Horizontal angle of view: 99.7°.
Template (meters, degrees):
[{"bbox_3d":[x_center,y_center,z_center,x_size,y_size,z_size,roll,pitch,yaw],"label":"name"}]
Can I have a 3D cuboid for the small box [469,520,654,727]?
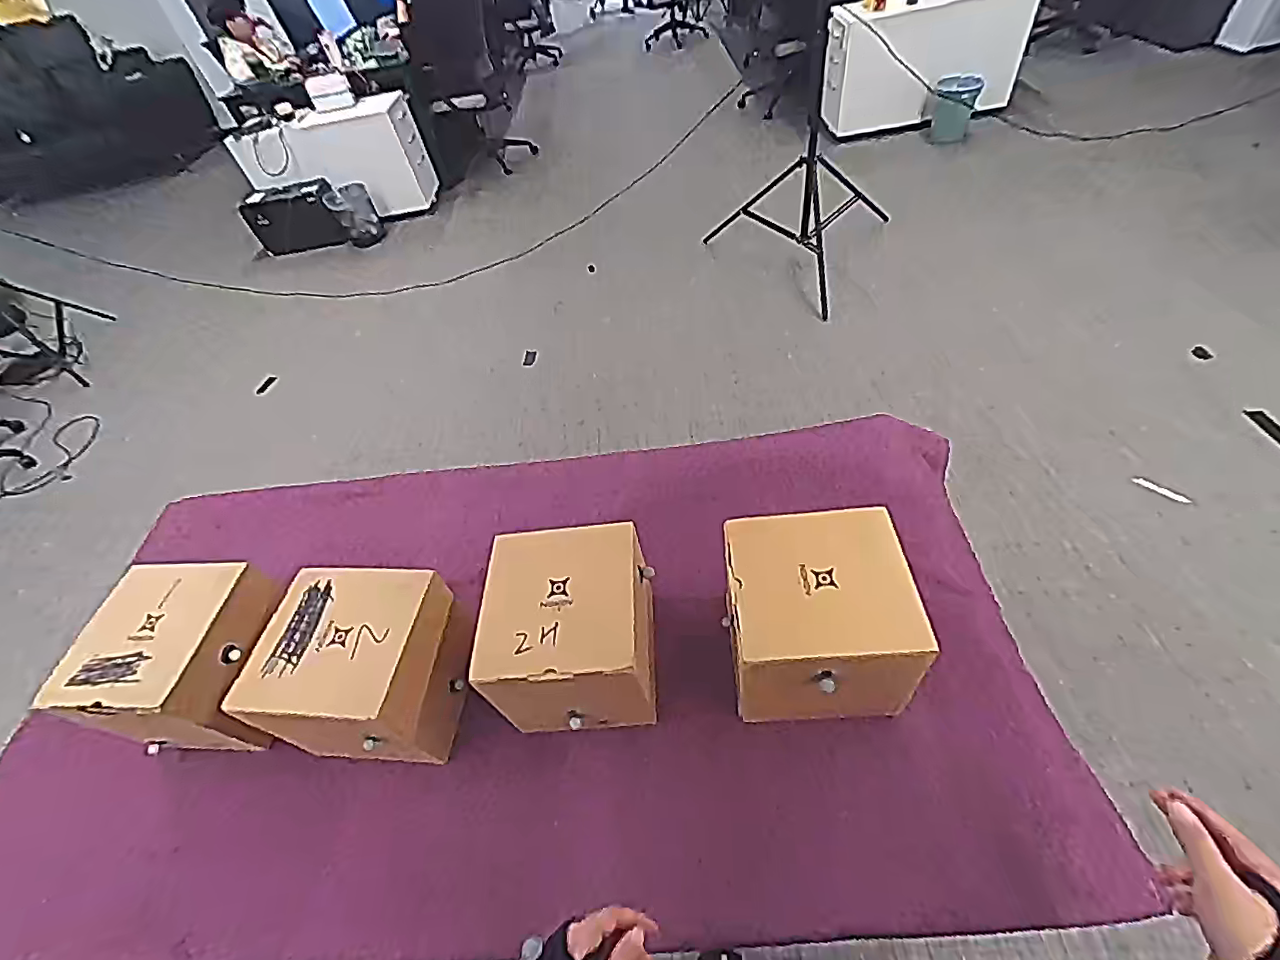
[{"bbox_3d":[-0.076,0.170,0.634,0.168,0.176,0.179,-6,49,6],"label":"small box"}]

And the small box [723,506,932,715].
[{"bbox_3d":[0.189,0.149,0.601,0.179,0.176,0.168,-6,48,7],"label":"small box"}]

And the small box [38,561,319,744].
[{"bbox_3d":[-0.550,0.220,0.680,0.168,0.176,0.179,-2,50,8],"label":"small box"}]
